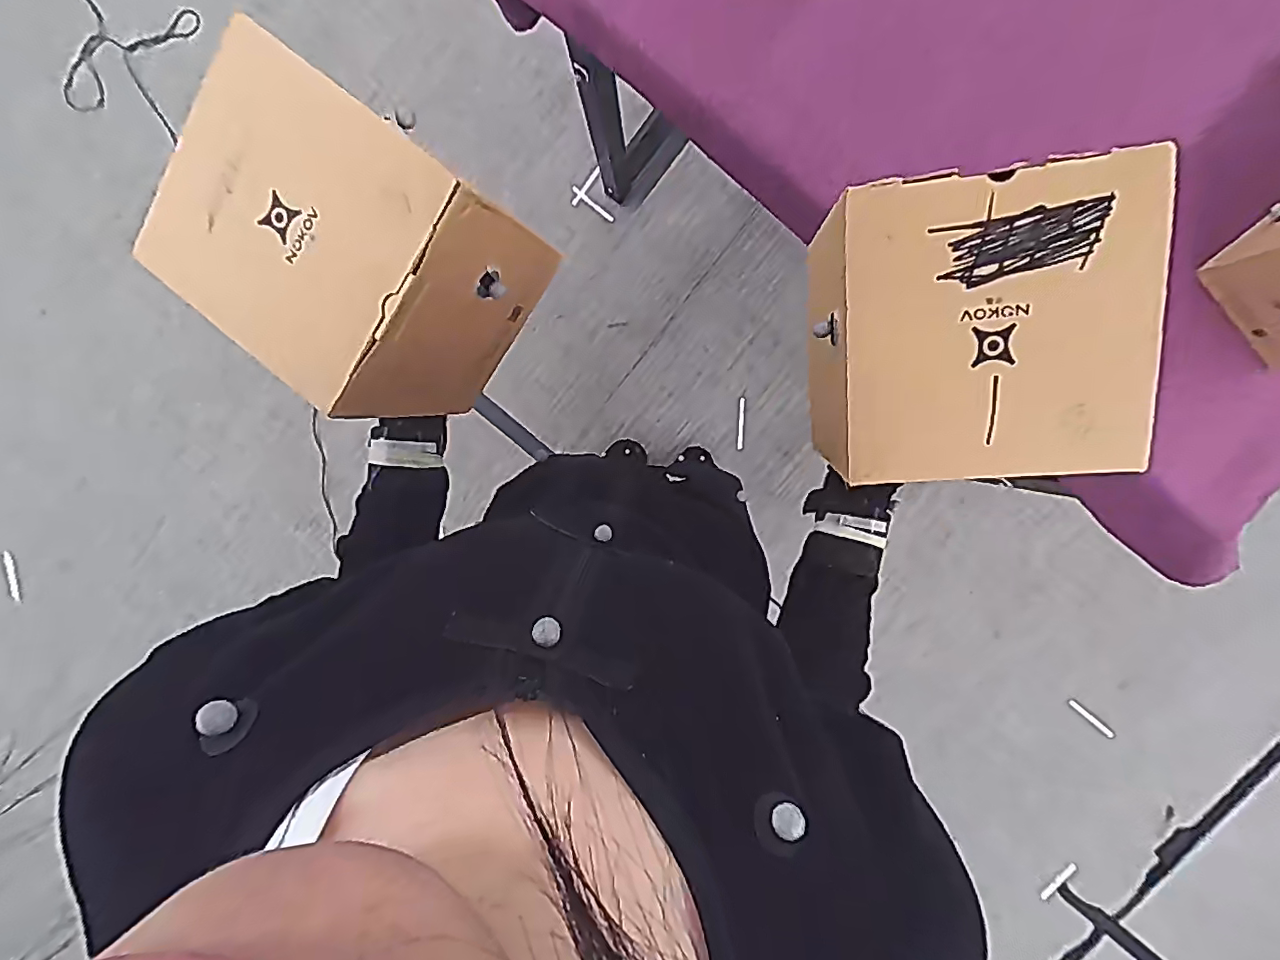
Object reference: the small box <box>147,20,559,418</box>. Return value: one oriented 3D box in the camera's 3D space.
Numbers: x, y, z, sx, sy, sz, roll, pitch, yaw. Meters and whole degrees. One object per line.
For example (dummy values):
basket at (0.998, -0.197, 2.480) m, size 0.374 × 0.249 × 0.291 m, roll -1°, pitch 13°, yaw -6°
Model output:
small box at (-0.189, -0.165, 0.403) m, size 0.179 × 0.176 × 0.168 m, roll 38°, pitch 103°, yaw 5°

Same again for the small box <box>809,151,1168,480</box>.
small box at (0.220, -0.104, 0.394) m, size 0.168 × 0.176 × 0.179 m, roll -3°, pitch 102°, yaw 10°
